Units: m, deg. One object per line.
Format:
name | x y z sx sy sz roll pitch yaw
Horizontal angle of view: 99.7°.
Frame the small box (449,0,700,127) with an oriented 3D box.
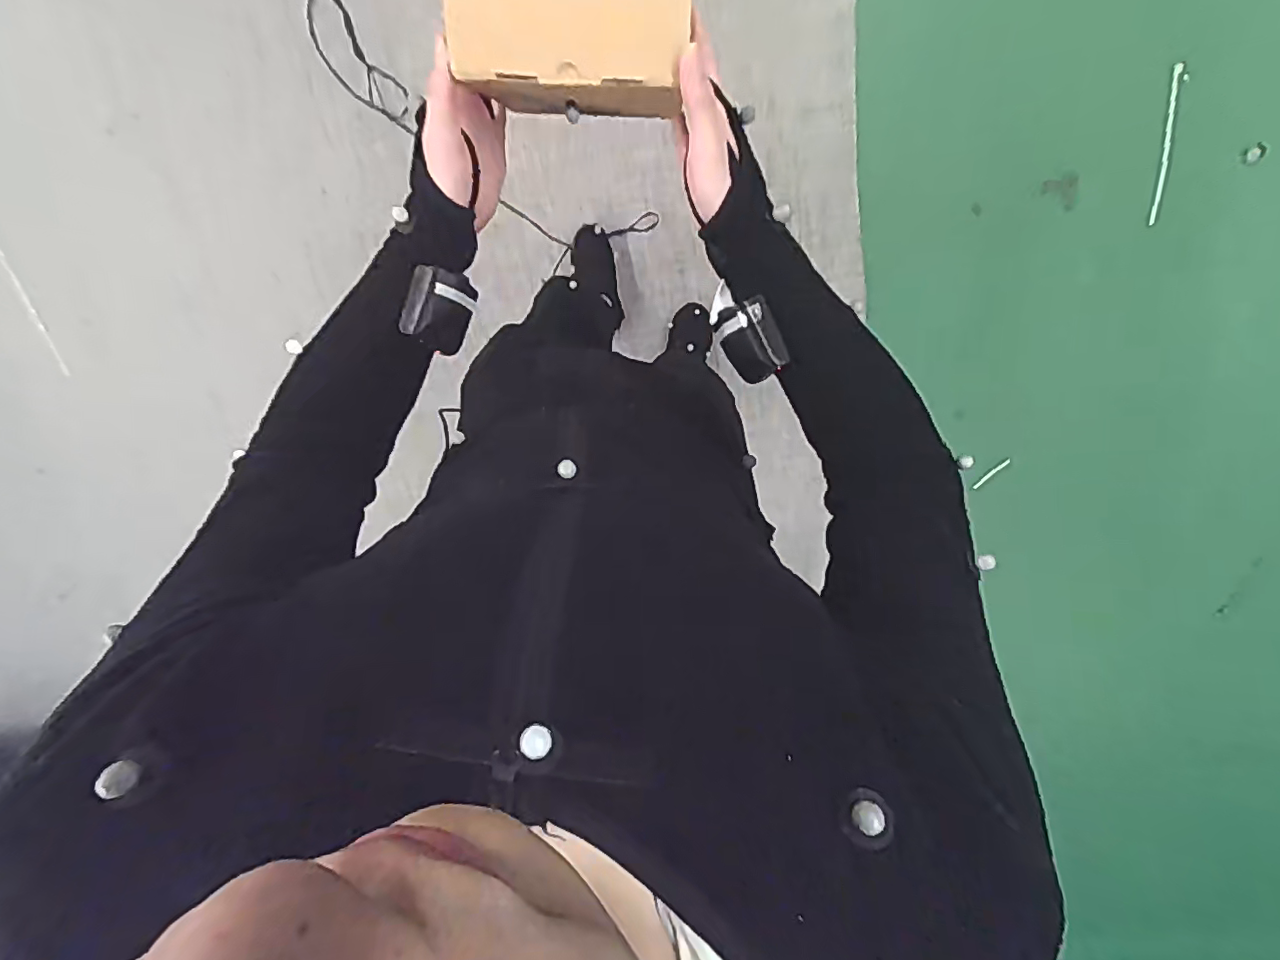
small box | -0.042 -0.379 0.406 0.168 0.176 0.179 2 120 -1
